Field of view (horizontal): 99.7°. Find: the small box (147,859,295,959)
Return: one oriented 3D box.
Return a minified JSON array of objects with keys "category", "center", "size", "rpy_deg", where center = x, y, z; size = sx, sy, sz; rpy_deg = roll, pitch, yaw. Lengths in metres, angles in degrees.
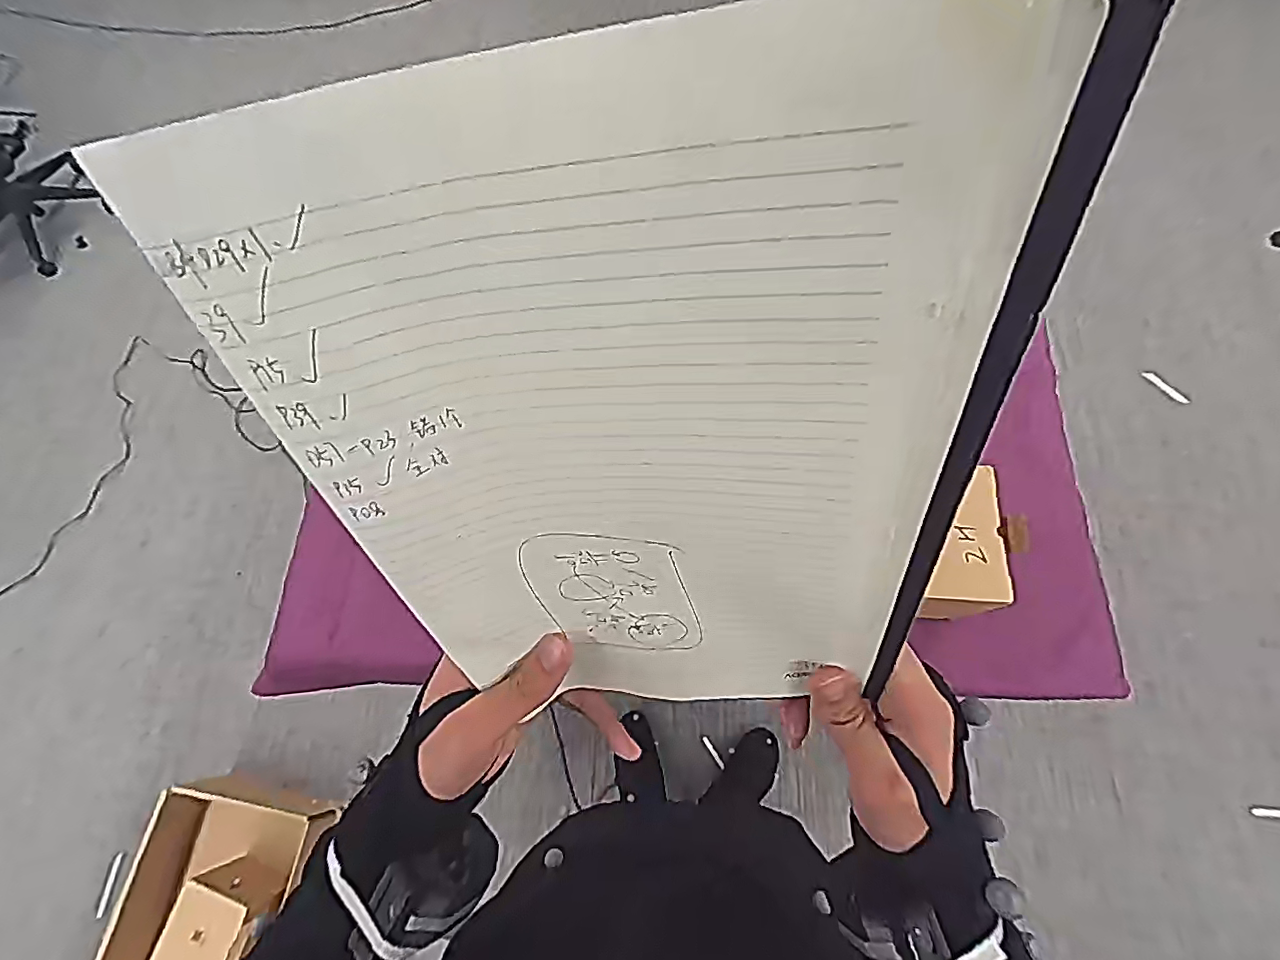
[{"category":"small box","center":[-0.945,1.008,1.239],"size":[0.179,0.176,0.168],"rpy_deg":[15,72,11]}]

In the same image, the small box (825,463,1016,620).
[{"category":"small box","center":[0.343,0.087,0.703],"size":[0.179,0.176,0.168],"rpy_deg":[3,70,7]}]
